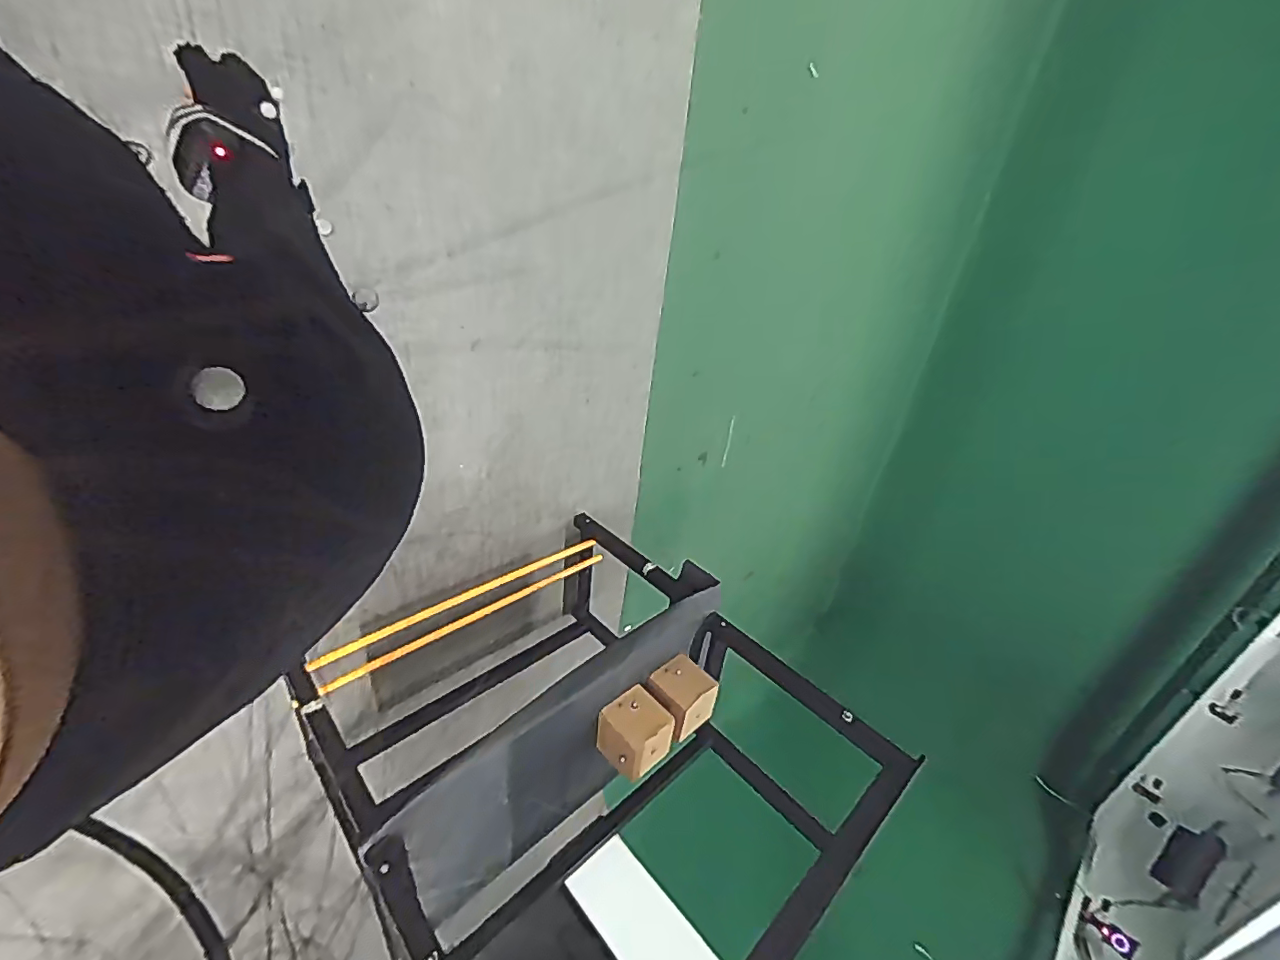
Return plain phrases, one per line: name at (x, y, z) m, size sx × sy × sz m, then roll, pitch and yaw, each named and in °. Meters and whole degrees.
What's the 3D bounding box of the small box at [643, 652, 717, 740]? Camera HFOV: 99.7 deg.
small box at (0.128, 0.711, 1.797) m, size 0.168 × 0.176 × 0.179 m, roll -21°, pitch 130°, yaw -39°
